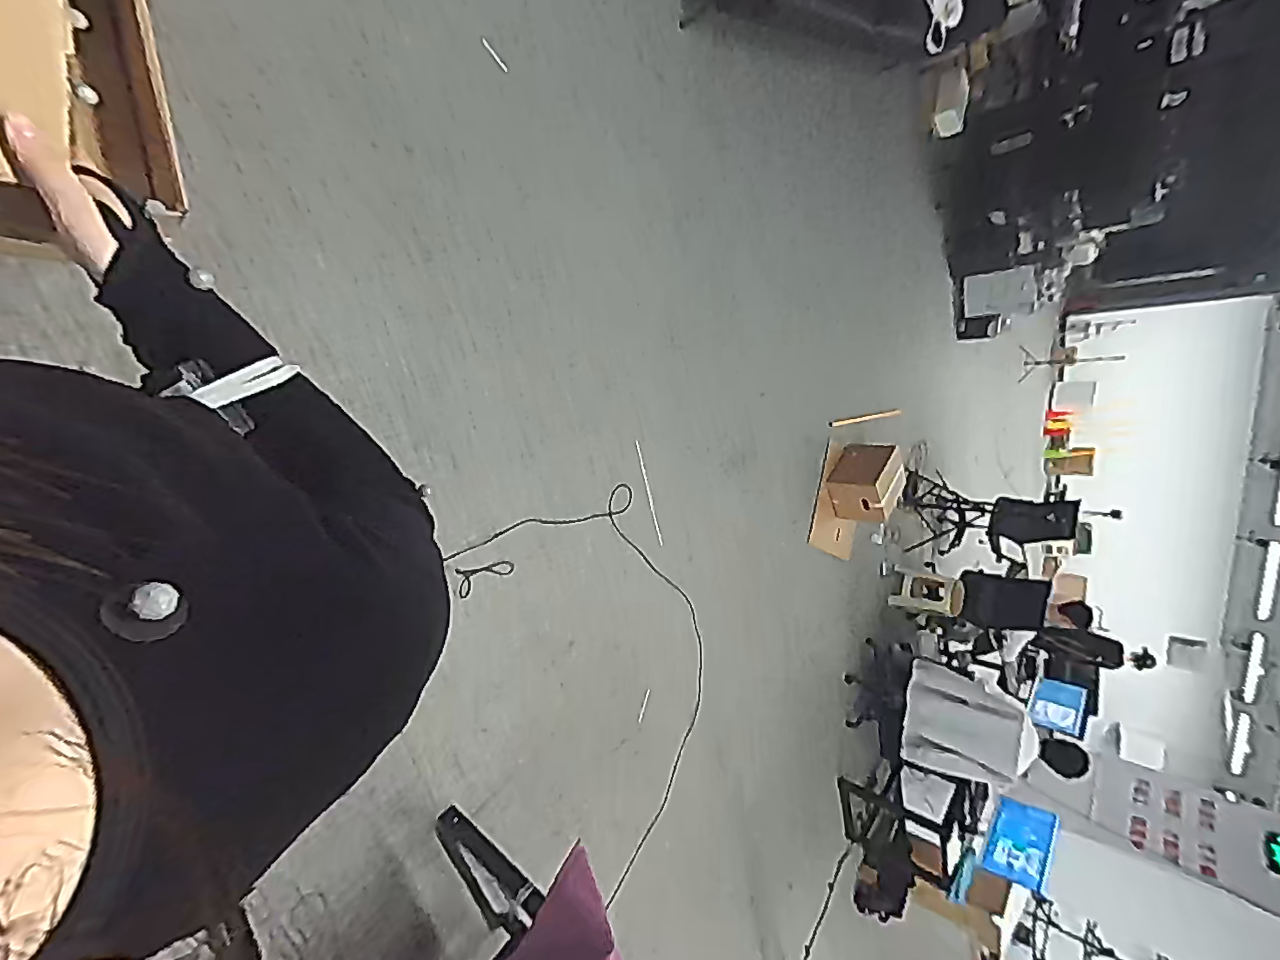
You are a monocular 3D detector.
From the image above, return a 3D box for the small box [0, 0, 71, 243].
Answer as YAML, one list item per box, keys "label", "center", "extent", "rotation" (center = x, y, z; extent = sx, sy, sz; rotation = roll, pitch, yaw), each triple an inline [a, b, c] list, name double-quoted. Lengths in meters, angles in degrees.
- label: "small box"
  center: [-0.482, -0.272, 0.342]
  extent: [0.168, 0.176, 0.179]
  rotation: [-3, 96, -47]
